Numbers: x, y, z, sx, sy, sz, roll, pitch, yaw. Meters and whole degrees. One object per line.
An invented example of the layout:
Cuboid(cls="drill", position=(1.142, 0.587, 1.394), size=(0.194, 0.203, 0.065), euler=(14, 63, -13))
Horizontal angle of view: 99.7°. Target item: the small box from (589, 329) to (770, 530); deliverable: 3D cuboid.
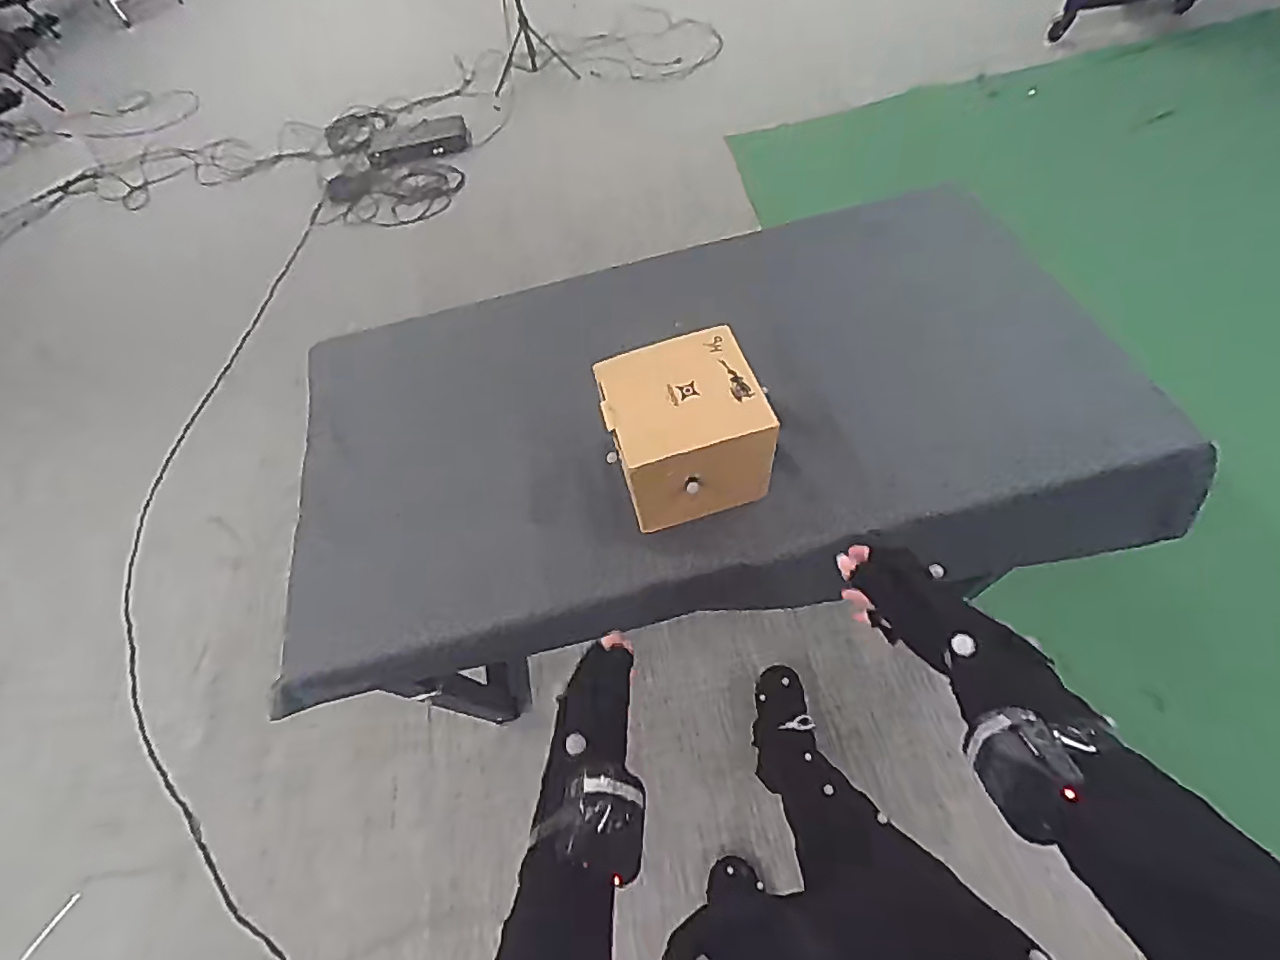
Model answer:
Cuboid(cls="small box", position=(0.052, -0.058, 0.701), size=(0.179, 0.176, 0.168), euler=(-19, 57, -4))
